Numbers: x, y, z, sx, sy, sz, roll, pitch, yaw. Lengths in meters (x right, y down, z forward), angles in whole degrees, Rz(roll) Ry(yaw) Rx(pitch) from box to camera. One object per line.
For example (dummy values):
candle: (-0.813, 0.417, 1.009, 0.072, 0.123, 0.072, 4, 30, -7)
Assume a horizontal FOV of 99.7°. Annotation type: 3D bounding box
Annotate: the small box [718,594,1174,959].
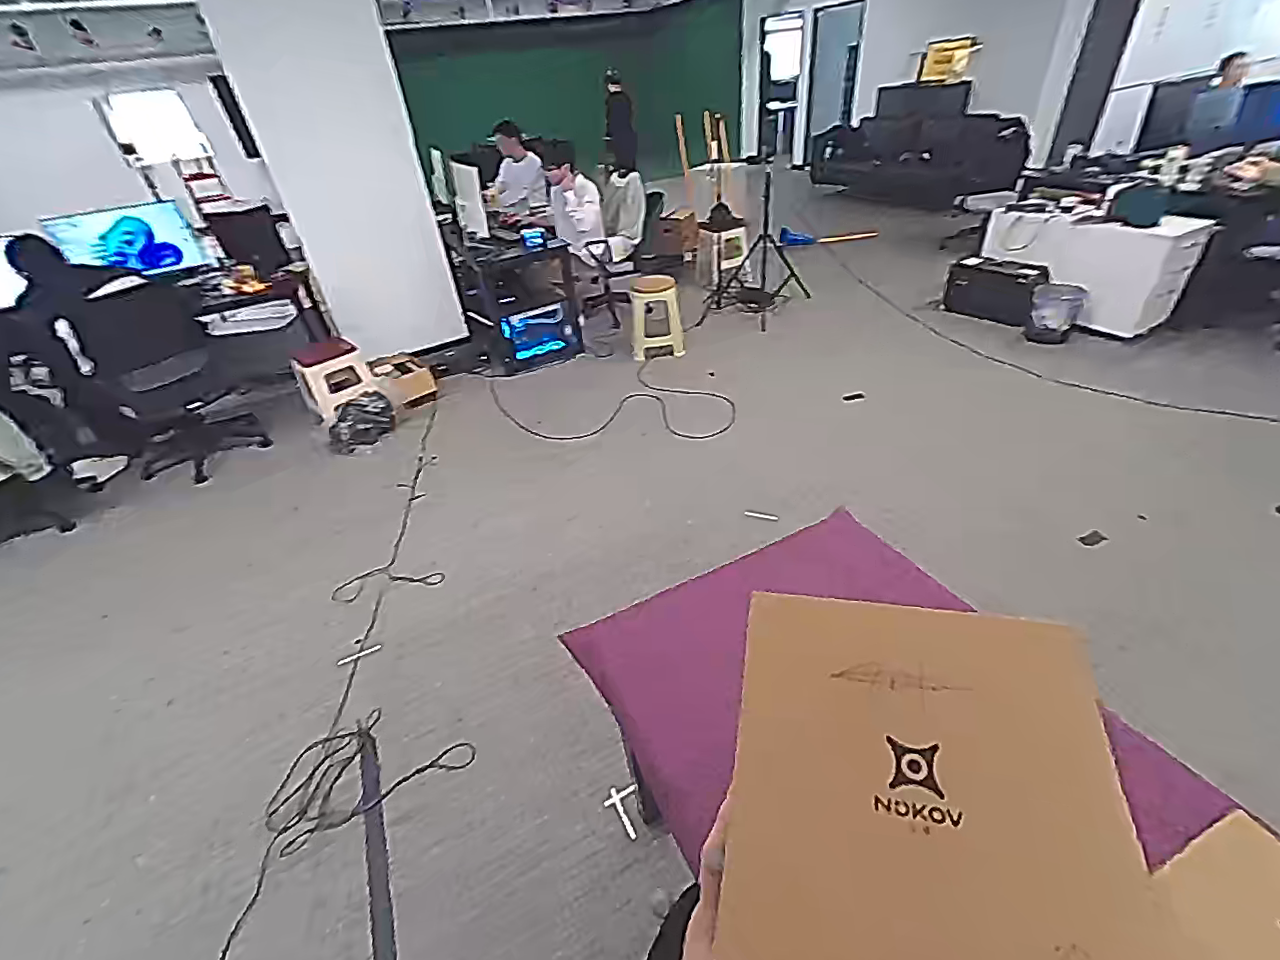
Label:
small box: (0.139, 0.189, 0.307, 0.168, 0.176, 0.179, 2, 48, 14)
